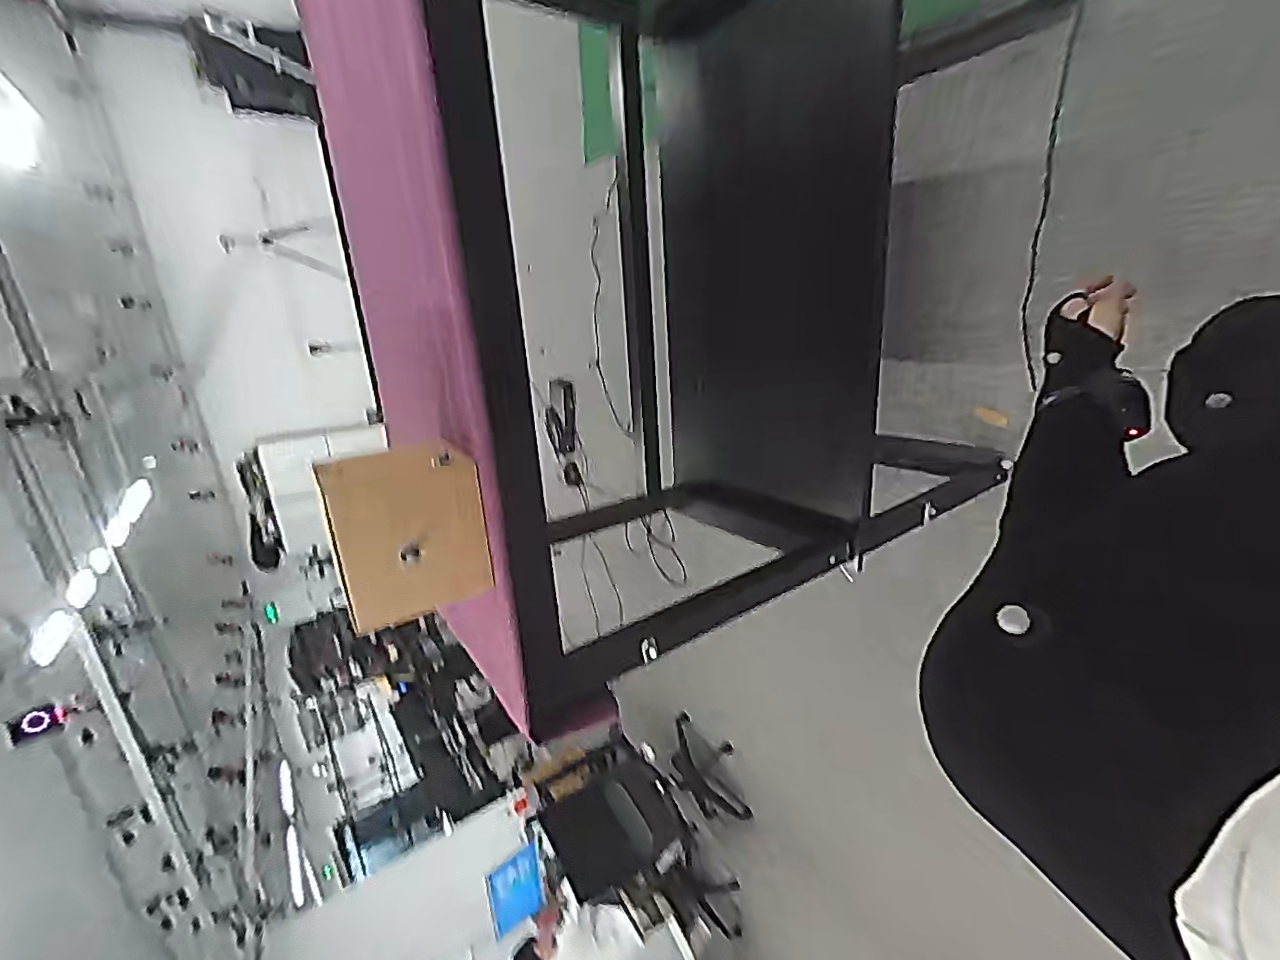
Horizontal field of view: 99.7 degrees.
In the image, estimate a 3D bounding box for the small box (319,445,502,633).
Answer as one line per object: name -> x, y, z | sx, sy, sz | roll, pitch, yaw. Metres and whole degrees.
small box -> -0.296, 0.060, 0.704 | 0.168, 0.176, 0.179 | 22, 121, 53
